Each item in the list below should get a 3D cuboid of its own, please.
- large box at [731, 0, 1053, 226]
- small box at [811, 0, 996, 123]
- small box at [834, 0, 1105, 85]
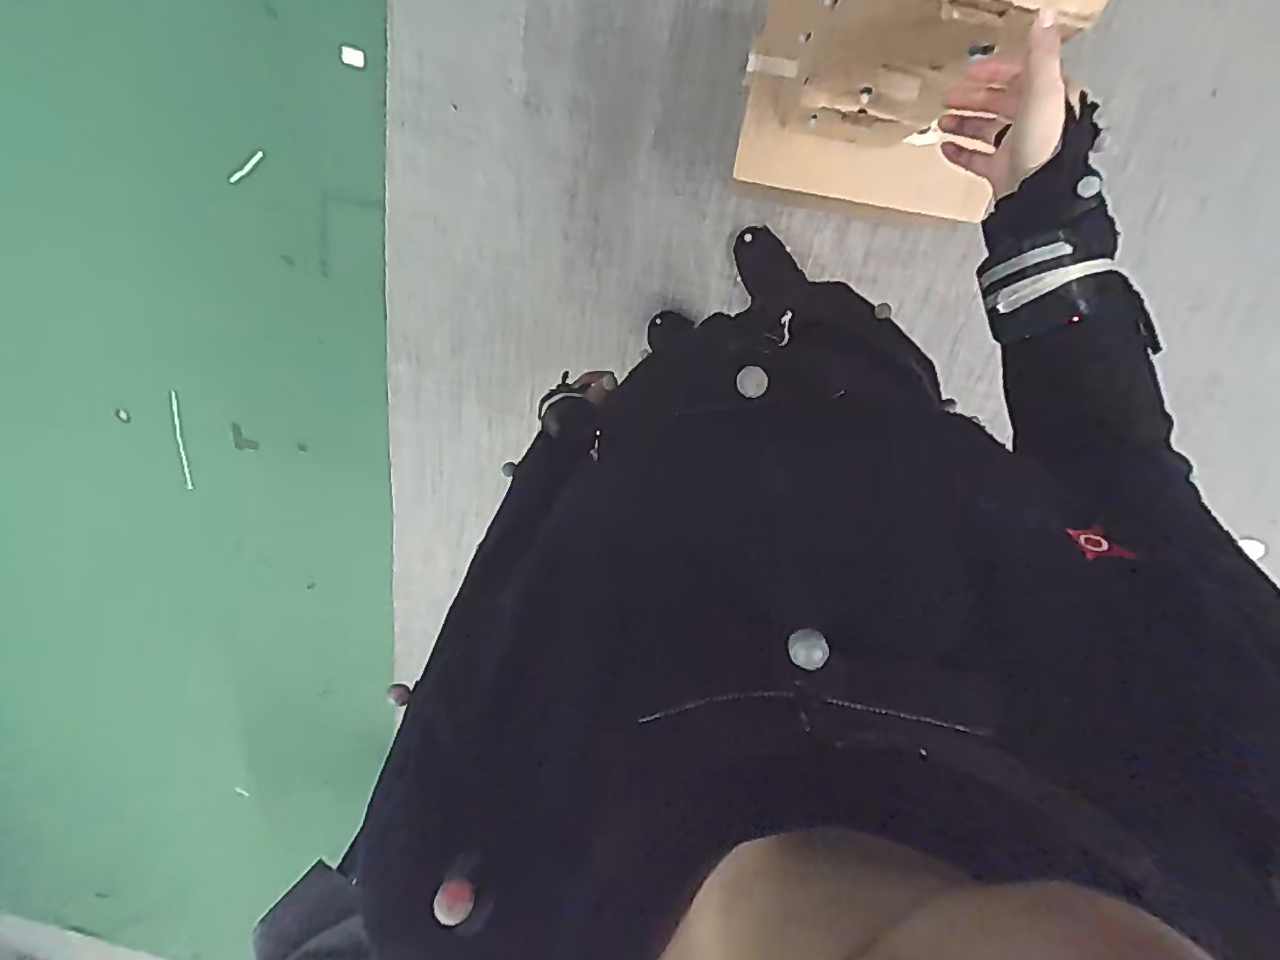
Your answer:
[{"bbox_3d":[0.388,-0.642,0.936,0.408,0.320,0.320,11,115,2],"label":"large box"},{"bbox_3d":[0.293,-0.506,0.562,0.168,0.176,0.179,17,115,1],"label":"small box"},{"bbox_3d":[0.266,-0.440,0.416,0.168,0.176,0.179,14,114,0],"label":"small box"}]
